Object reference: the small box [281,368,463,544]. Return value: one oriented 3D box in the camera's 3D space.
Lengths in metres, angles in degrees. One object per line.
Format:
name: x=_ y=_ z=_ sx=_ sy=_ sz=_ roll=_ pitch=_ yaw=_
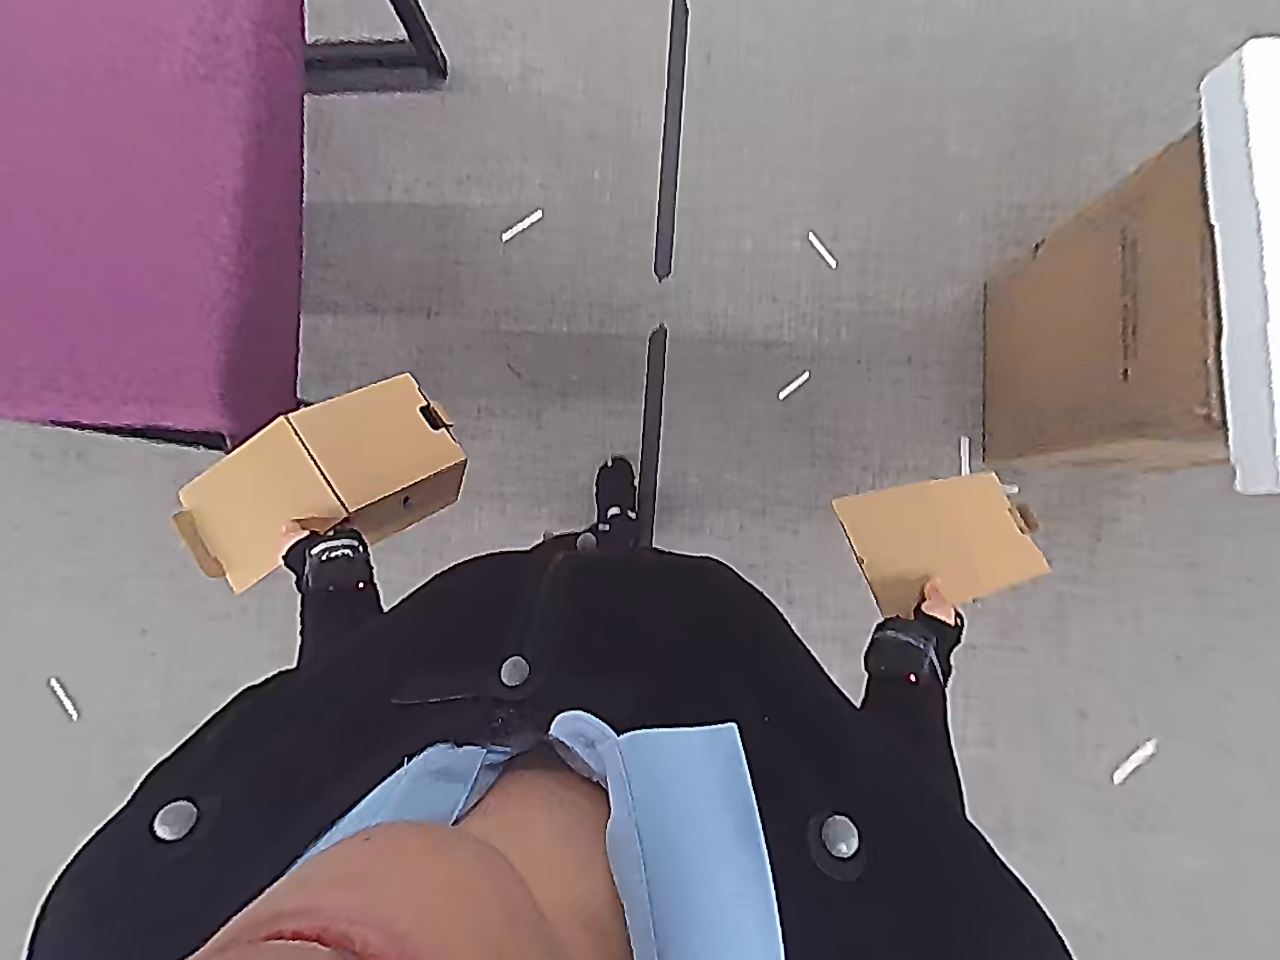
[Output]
small box: x=-0.386 y=-0.030 z=0.799 sx=0.179 sy=0.176 sz=0.168 roll=-31 pitch=81 yaw=-33
